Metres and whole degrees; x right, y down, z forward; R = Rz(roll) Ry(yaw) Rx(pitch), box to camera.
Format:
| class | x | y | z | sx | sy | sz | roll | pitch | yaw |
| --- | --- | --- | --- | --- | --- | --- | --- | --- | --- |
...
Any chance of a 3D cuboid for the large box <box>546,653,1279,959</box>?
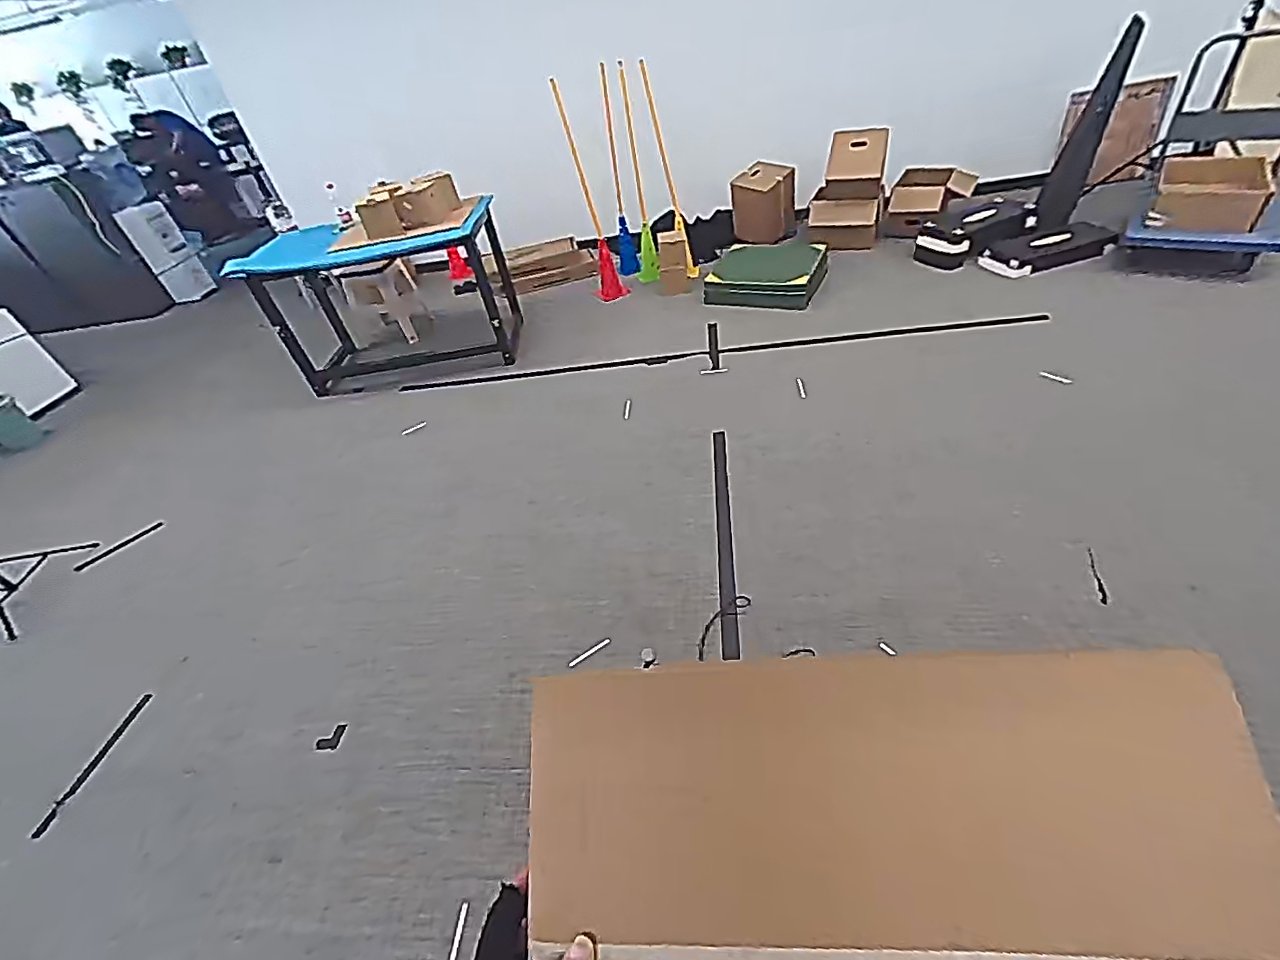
| class | x | y | z | sx | sy | sz | roll | pitch | yaw |
| --- | --- | --- | --- | --- | --- | --- | --- | --- | --- |
| large box | 0.163 | 0.315 | 0.438 | 0.408 | 0.320 | 0.320 | -6 | 72 | 9 |
